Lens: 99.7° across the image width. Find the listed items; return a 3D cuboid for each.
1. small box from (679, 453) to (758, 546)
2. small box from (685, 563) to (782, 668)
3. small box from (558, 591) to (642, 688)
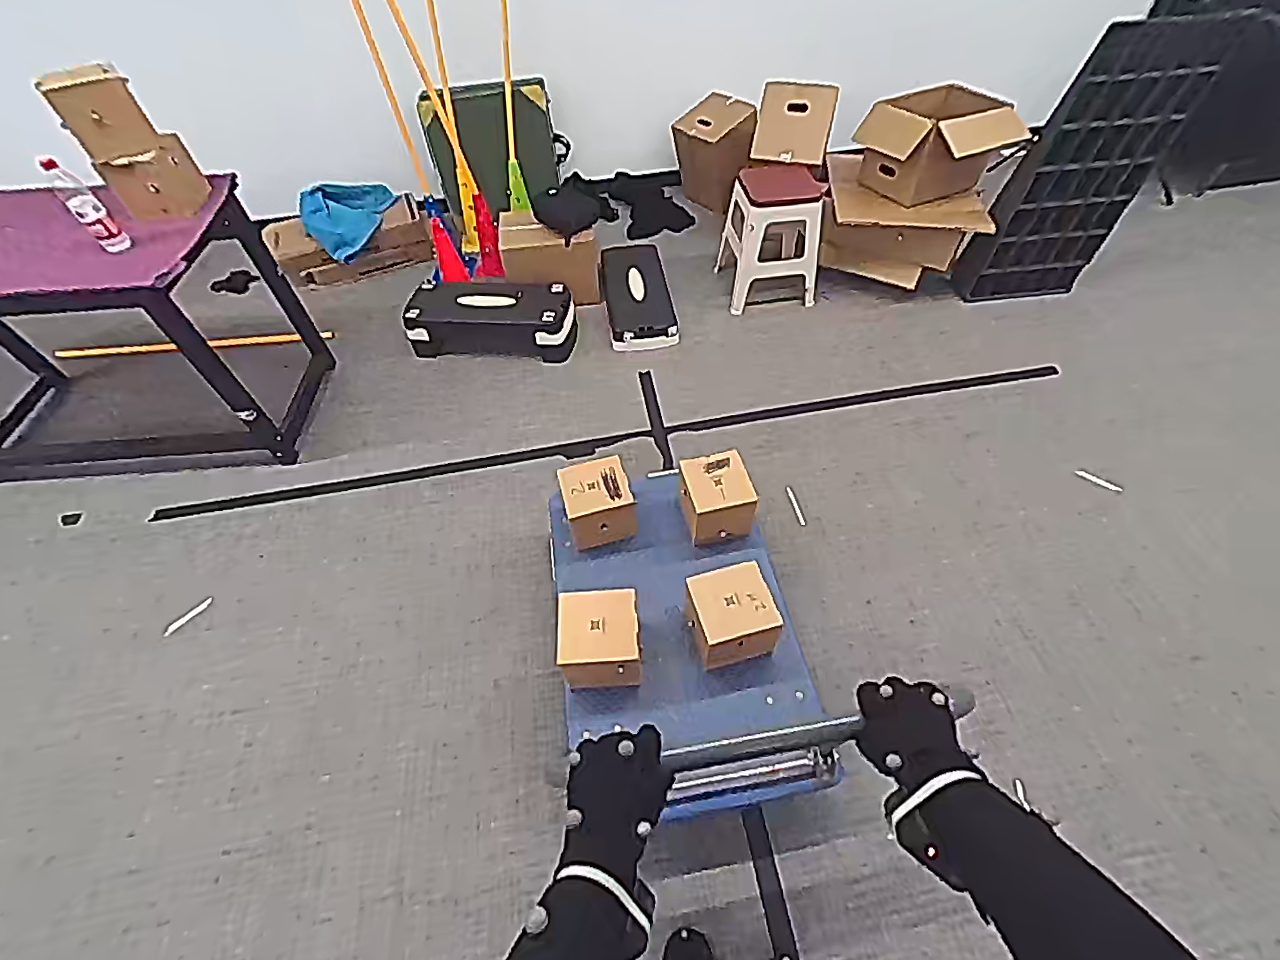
[{"bbox_3d":[0.206,0.055,1.480,0.168,0.176,0.179,-12,54,-6],"label":"small box"},{"bbox_3d":[0.213,0.324,1.274,0.179,0.176,0.168,-13,53,-7],"label":"small box"},{"bbox_3d":[-0.089,0.372,1.251,0.179,0.176,0.168,-3,52,-2],"label":"small box"}]
